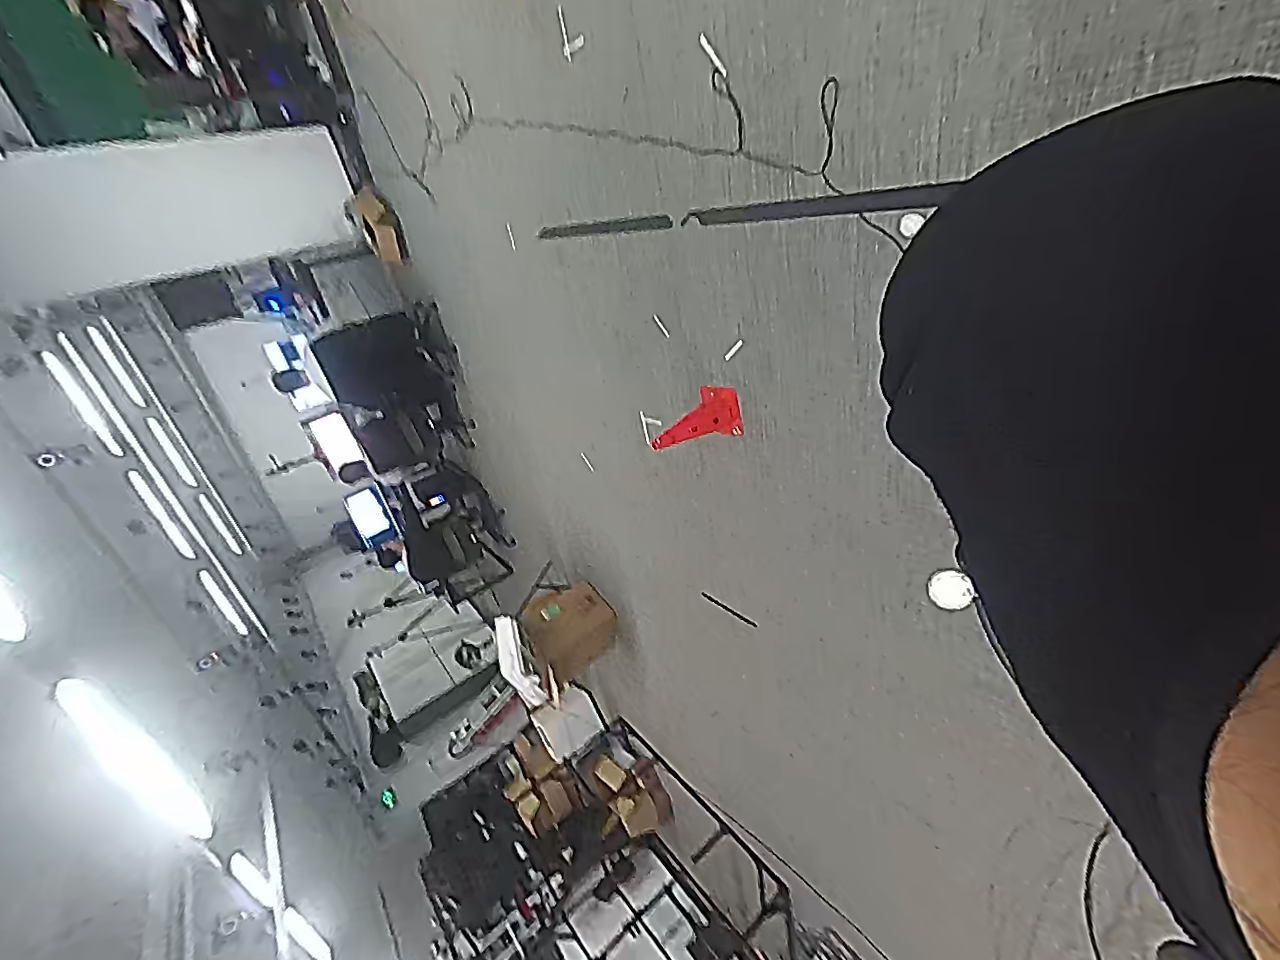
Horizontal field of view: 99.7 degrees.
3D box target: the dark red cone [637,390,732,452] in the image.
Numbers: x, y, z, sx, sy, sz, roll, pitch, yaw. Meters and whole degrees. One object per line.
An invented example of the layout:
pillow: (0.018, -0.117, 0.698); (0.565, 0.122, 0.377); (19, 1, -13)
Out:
dark red cone: (0.155, -0.191, 2.050); (0.202, 0.394, 0.201); (16, 127, 53)
